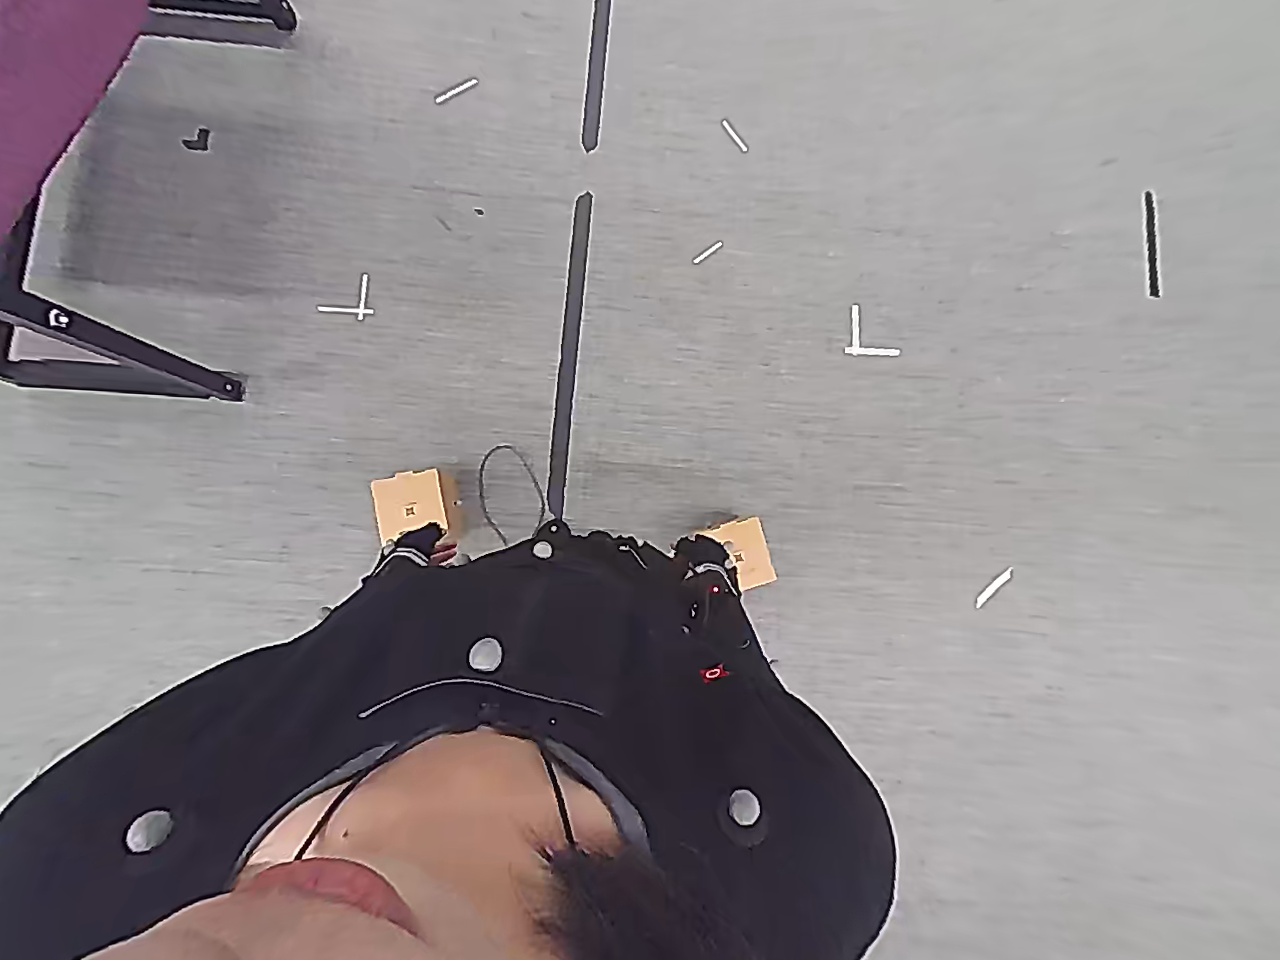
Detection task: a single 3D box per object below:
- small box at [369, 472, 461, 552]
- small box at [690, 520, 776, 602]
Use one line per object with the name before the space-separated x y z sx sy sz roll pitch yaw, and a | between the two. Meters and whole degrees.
small box | -0.581 0.088 1.412 0.168 0.176 0.179 -12 84 -6
small box | 0.242 0.216 1.464 0.168 0.176 0.179 -16 86 -5
